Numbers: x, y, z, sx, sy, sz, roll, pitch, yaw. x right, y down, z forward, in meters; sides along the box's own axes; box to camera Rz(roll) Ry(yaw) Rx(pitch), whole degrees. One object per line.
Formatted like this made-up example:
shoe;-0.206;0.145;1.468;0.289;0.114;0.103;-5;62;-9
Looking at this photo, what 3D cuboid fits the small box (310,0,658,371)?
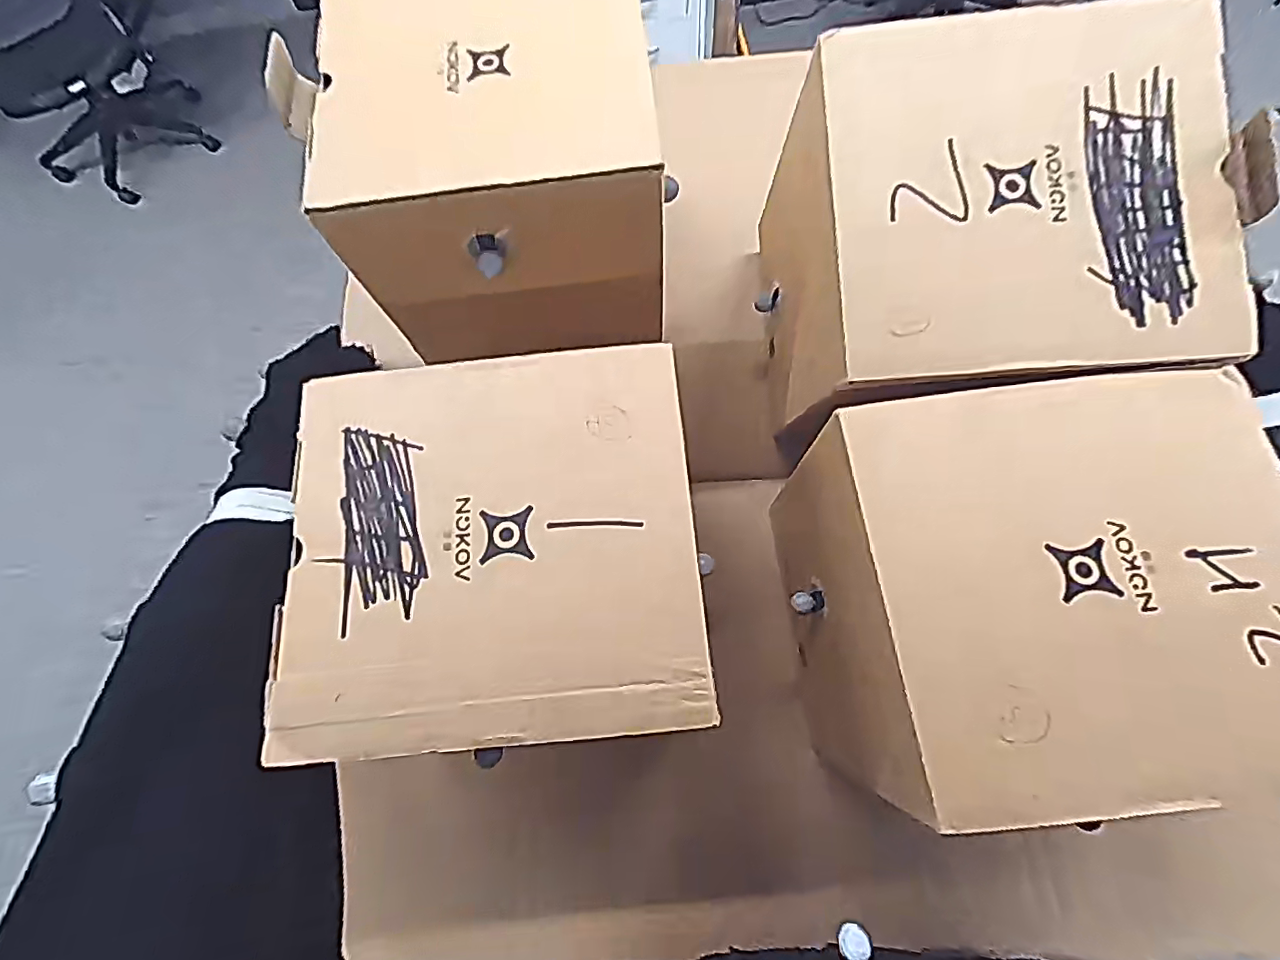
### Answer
small box;-0.082;-0.191;0.364;0.179;0.176;0.168;-8;73;2
